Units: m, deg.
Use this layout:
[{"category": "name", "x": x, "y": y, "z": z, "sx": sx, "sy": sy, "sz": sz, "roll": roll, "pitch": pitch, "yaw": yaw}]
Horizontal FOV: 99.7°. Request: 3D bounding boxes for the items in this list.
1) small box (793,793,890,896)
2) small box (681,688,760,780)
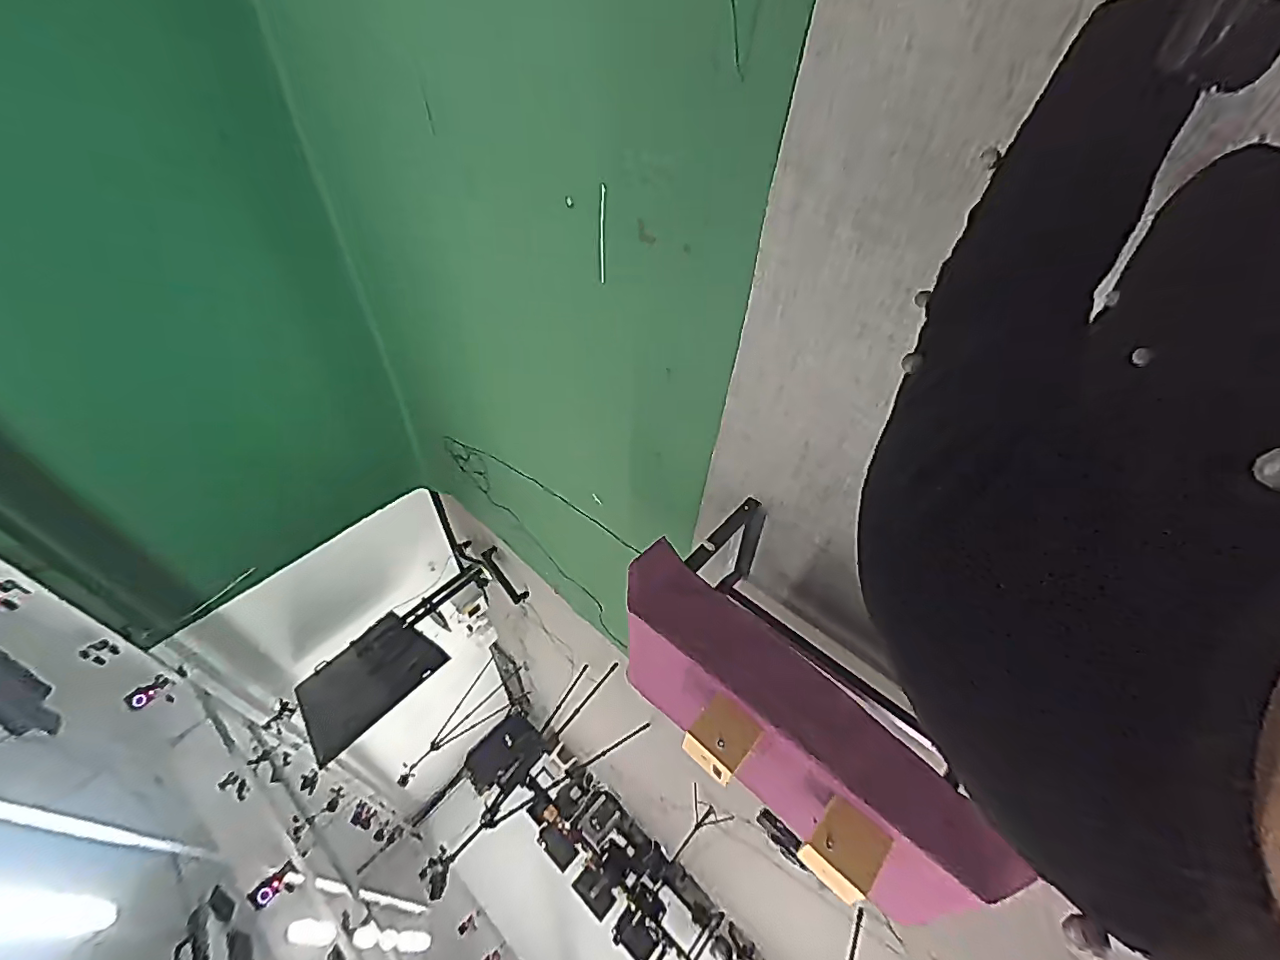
[{"category": "small box", "x": 0.569, "y": 1.022, "z": 1.530, "sx": 0.179, "sy": 0.176, "sz": 0.168, "roll": 34, "pitch": 146, "yaw": 27}, {"category": "small box", "x": 0.256, "y": 0.801, "z": 1.711, "sx": 0.179, "sy": 0.176, "sz": 0.168, "roll": 36, "pitch": 146, "yaw": 25}]
